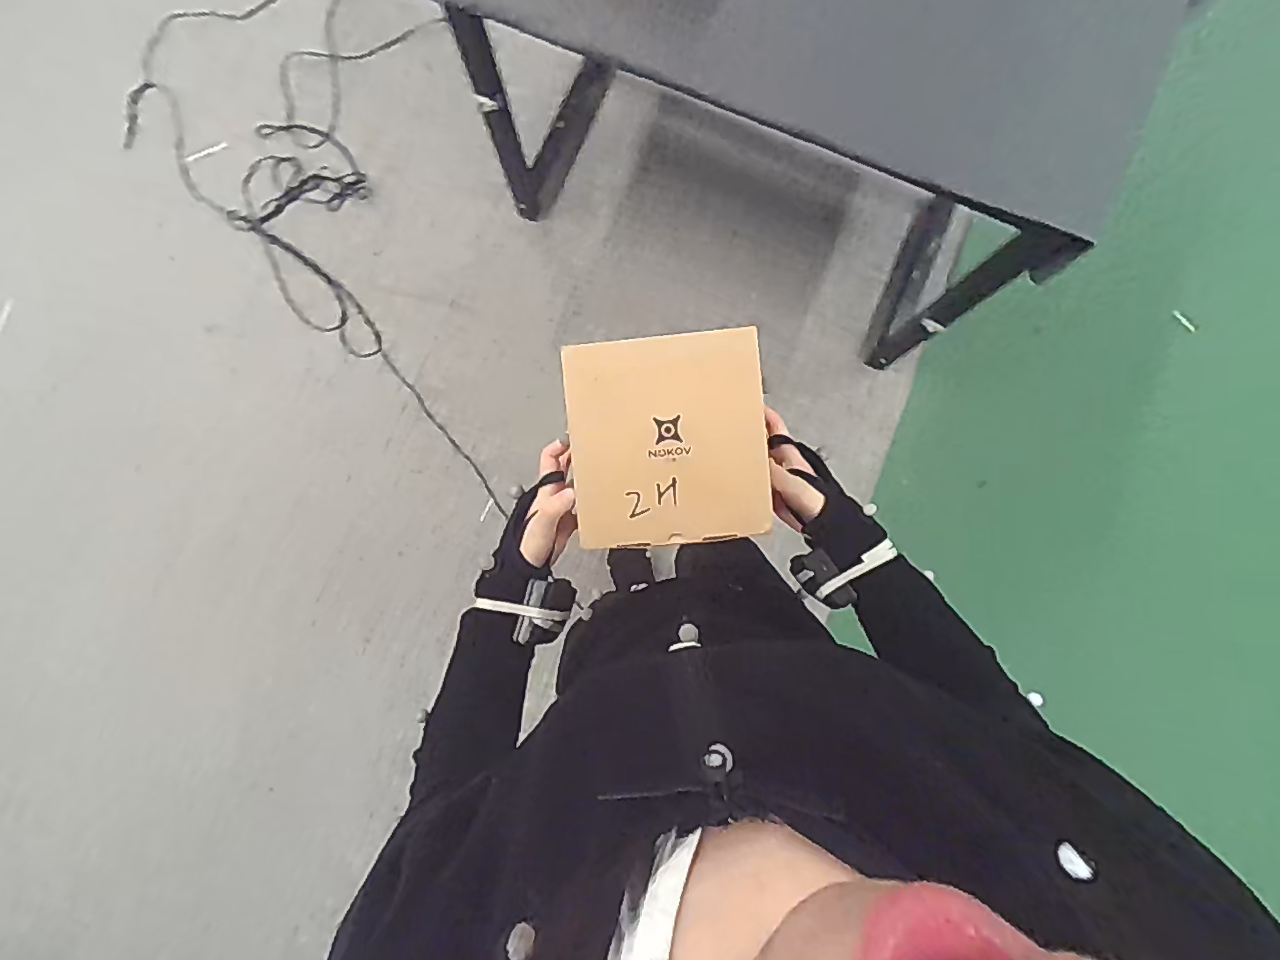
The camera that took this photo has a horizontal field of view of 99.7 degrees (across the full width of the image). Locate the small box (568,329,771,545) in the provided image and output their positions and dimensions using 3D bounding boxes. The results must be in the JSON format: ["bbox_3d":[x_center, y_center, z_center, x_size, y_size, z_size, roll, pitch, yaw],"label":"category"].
[{"bbox_3d":[0.026,-0.037,0.534,0.168,0.176,0.179,-4,92,3],"label":"small box"}]
